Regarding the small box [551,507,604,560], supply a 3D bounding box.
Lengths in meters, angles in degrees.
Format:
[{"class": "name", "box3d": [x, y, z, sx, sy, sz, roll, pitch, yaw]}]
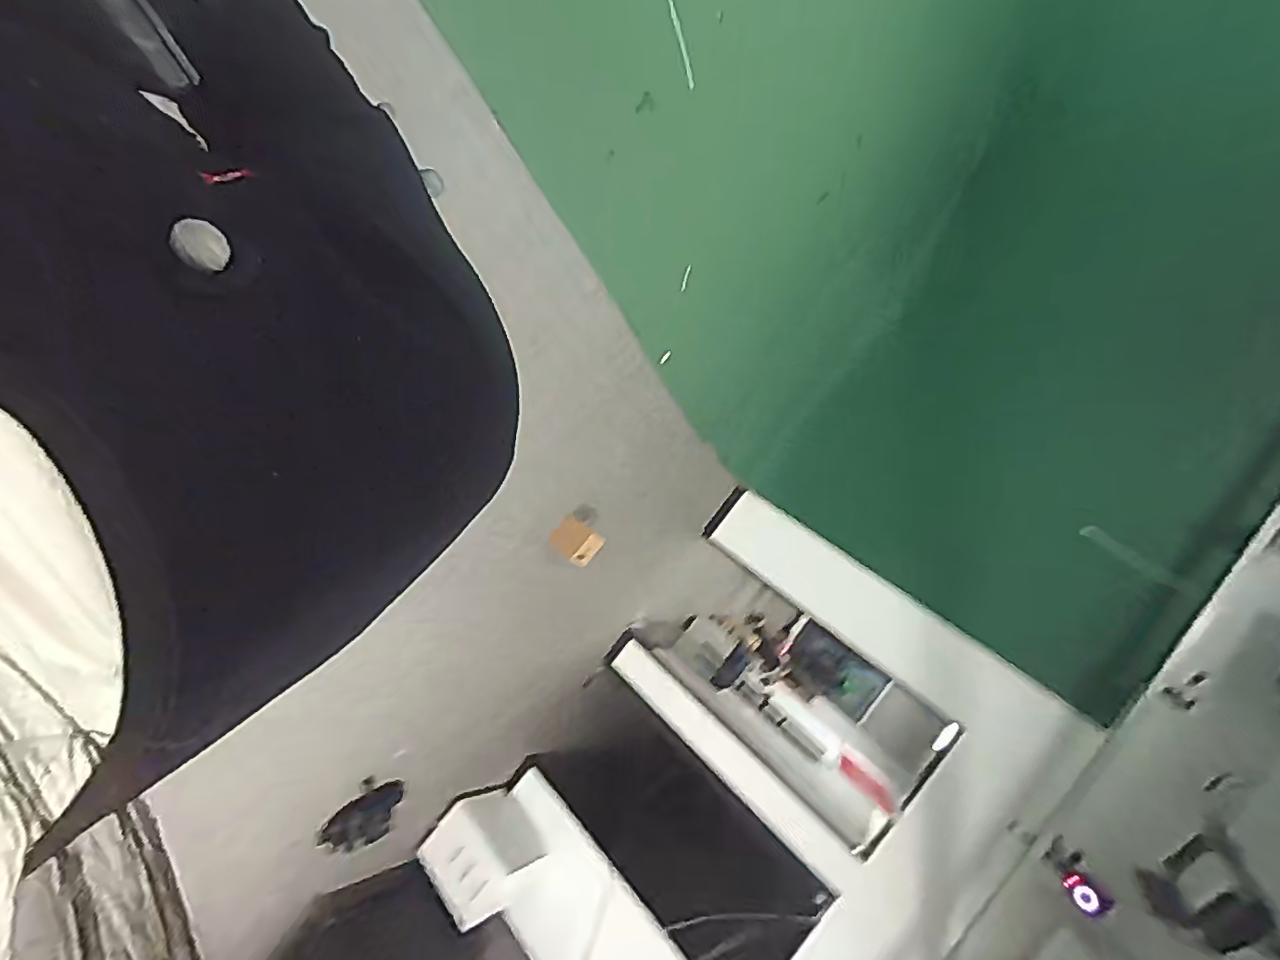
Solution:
[{"class": "small box", "box3d": [-0.321, 0.268, 2.711, 0.179, 0.176, 0.168, -51, 152, -2]}]
